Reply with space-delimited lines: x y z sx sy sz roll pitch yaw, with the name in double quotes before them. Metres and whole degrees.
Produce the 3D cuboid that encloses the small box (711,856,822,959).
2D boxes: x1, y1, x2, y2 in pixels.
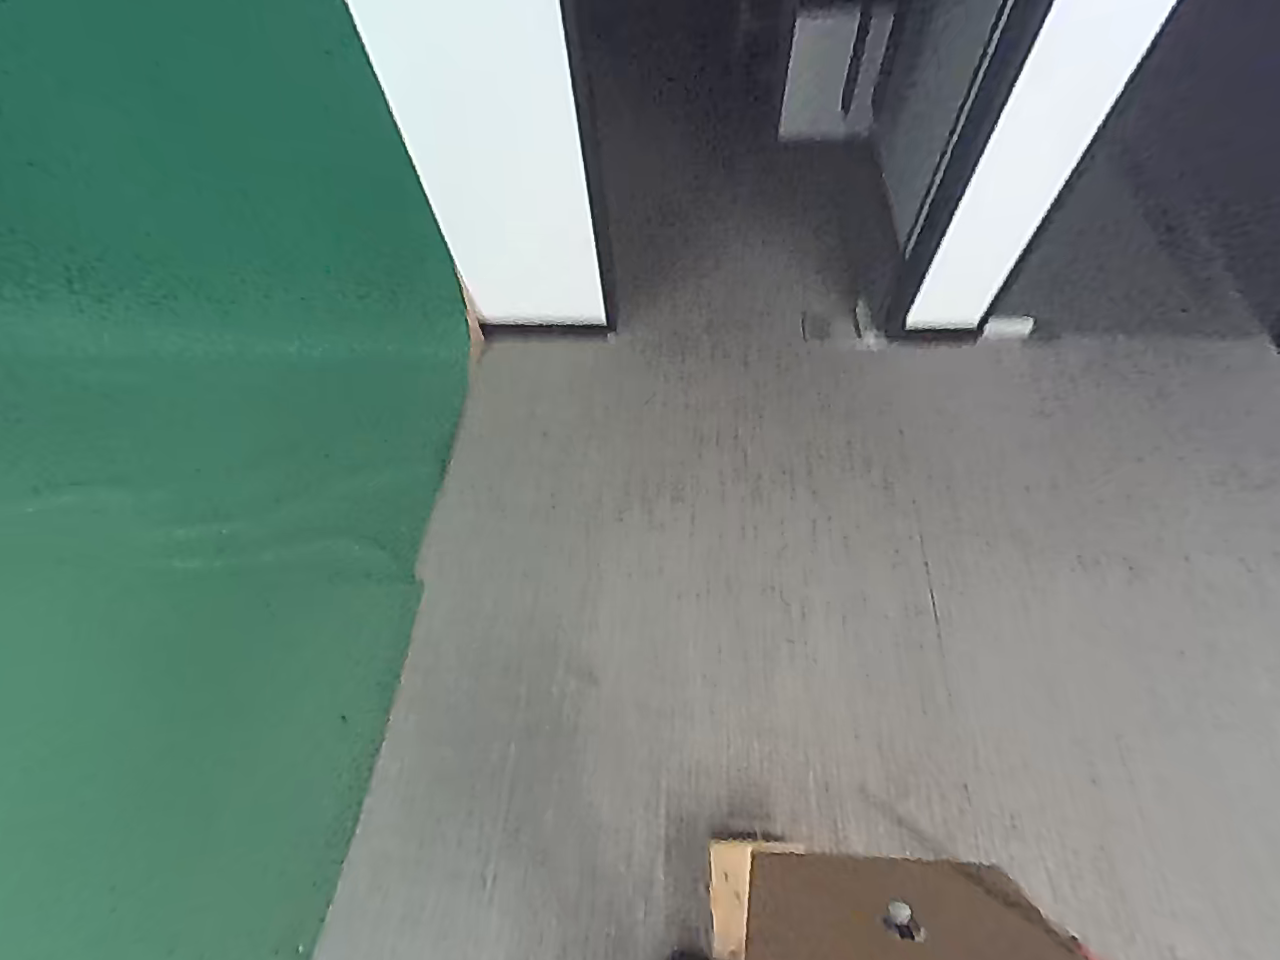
"small box" 0.226 0.809 1.009 0.179 0.176 0.168 -1 57 4
